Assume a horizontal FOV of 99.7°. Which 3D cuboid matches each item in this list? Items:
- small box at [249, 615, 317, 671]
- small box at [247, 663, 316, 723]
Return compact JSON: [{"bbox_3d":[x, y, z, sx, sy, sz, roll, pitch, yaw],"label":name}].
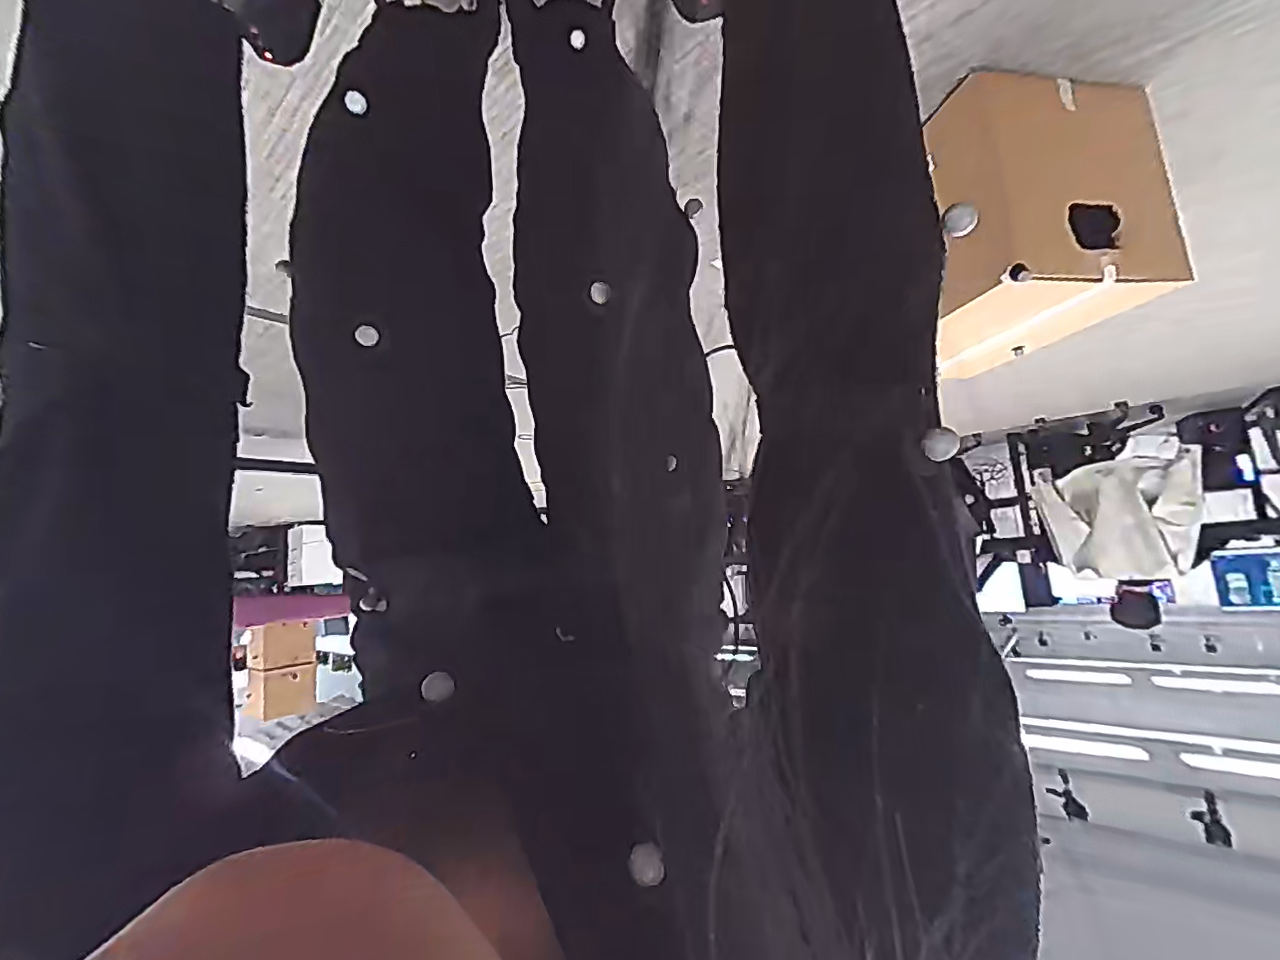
[{"bbox_3d":[-1.284,0.581,1.941,0.179,0.176,0.168,-11,170,39],"label":"small box"},{"bbox_3d":[-1.264,0.739,1.908,0.179,0.176,0.168,-13,169,39],"label":"small box"}]
